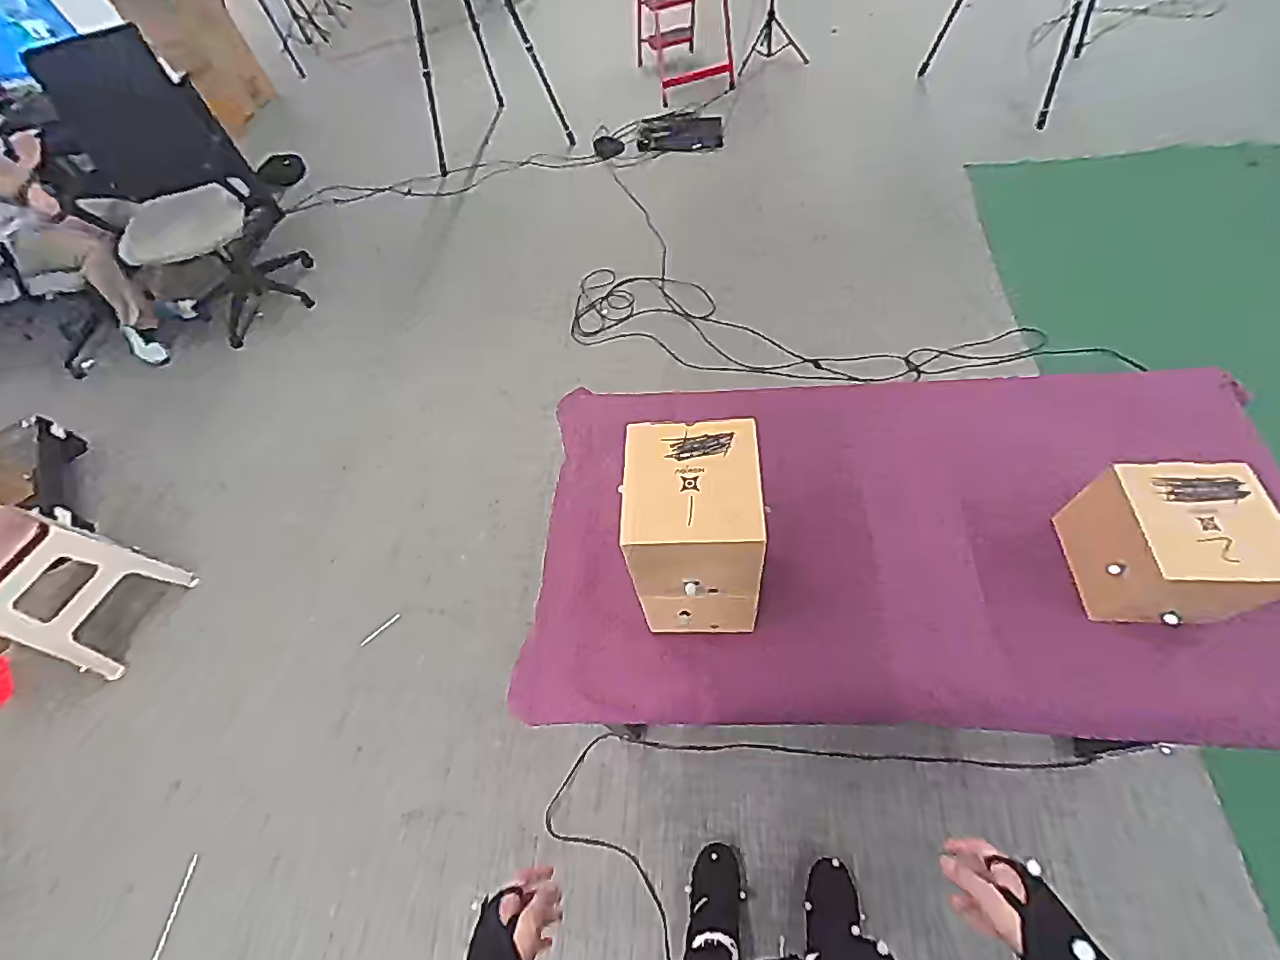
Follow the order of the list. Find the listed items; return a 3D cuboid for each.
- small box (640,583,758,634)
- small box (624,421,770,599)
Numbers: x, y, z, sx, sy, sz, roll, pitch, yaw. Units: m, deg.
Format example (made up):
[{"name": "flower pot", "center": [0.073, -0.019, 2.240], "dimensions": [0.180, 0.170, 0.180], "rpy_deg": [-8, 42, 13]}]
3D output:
[{"name": "small box", "center": [0.095, 0.135, 0.846], "dimensions": [0.168, 0.176, 0.179], "rpy_deg": [-2, 56, 7]}, {"name": "small box", "center": [0.076, 0.043, 0.712], "dimensions": [0.168, 0.176, 0.179], "rpy_deg": [-2, 57, 8]}]
